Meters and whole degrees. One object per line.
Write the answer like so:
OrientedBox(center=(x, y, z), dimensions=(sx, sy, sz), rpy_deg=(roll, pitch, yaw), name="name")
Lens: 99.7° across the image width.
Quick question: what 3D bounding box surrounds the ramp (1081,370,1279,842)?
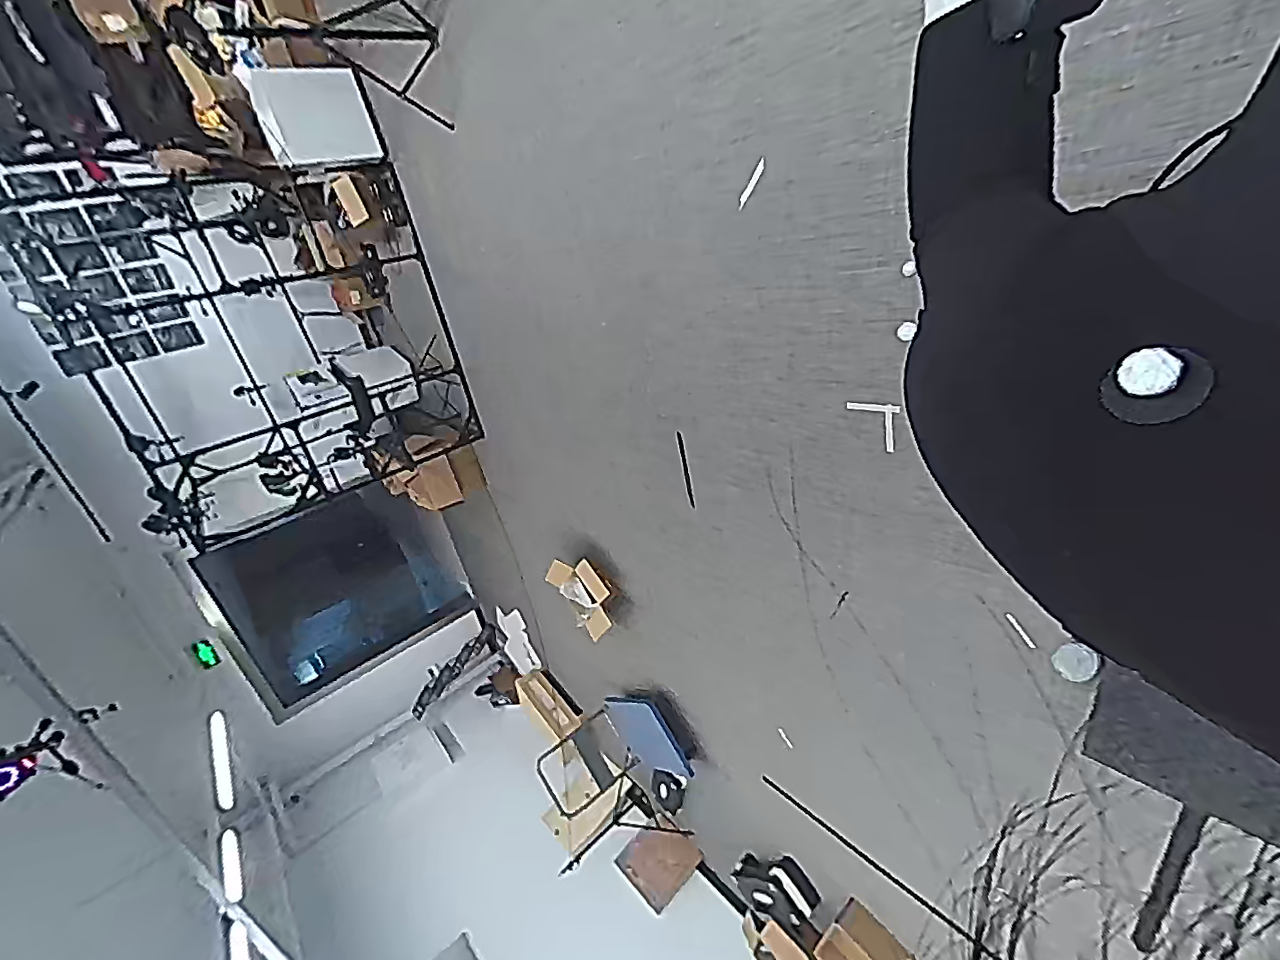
OrientedBox(center=(1.297, 0.290, 1.102), dimensions=(0.509, 0.206, 0.991), rpy_deg=(18, 128, 50), name="ramp")
